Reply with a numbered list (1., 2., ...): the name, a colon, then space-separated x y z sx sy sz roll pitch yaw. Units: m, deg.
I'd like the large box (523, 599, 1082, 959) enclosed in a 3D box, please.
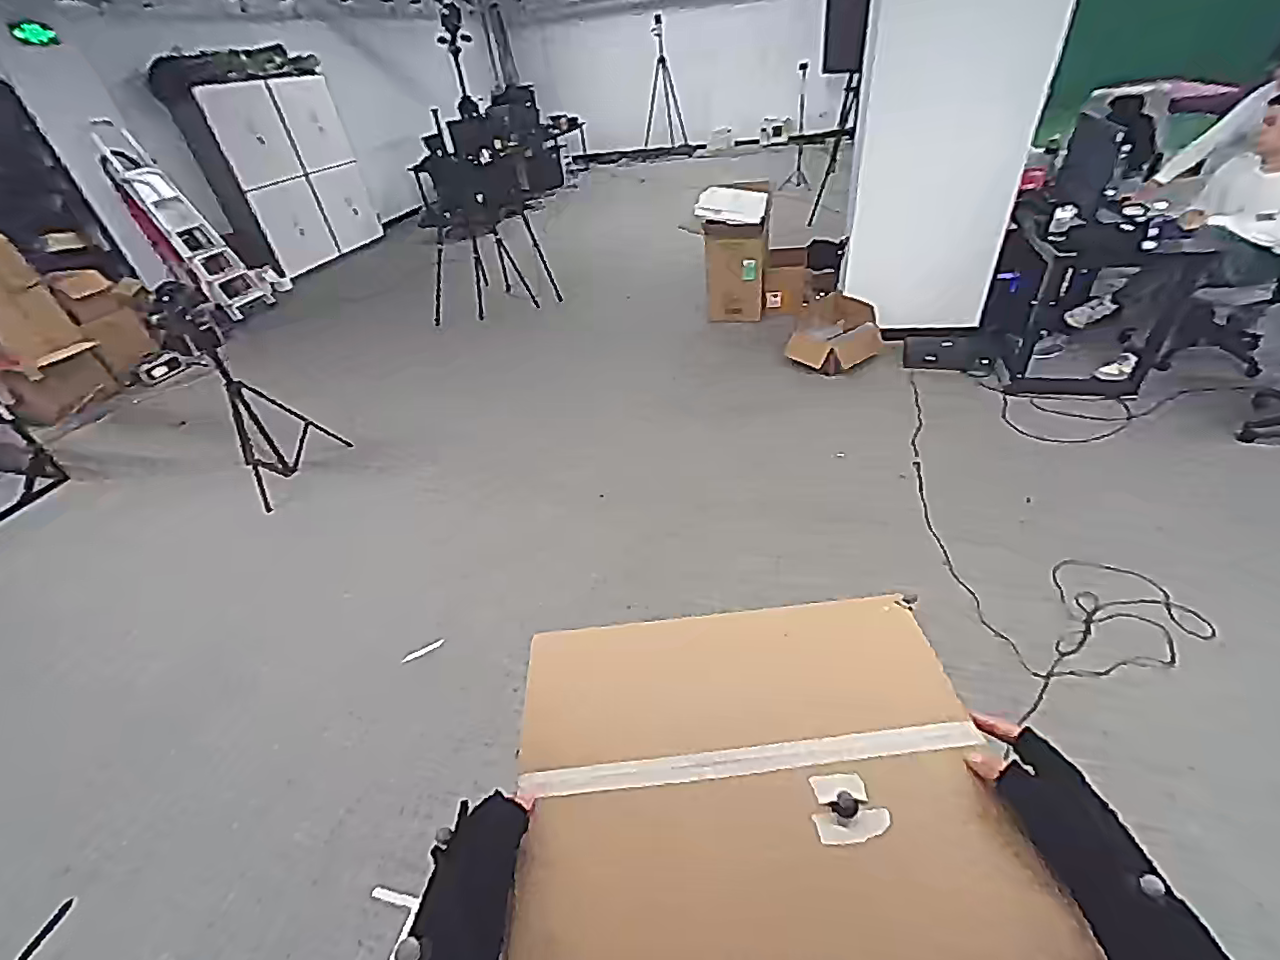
1. large box: 0.112 0.365 0.579 0.408 0.320 0.320 -6 39 0
